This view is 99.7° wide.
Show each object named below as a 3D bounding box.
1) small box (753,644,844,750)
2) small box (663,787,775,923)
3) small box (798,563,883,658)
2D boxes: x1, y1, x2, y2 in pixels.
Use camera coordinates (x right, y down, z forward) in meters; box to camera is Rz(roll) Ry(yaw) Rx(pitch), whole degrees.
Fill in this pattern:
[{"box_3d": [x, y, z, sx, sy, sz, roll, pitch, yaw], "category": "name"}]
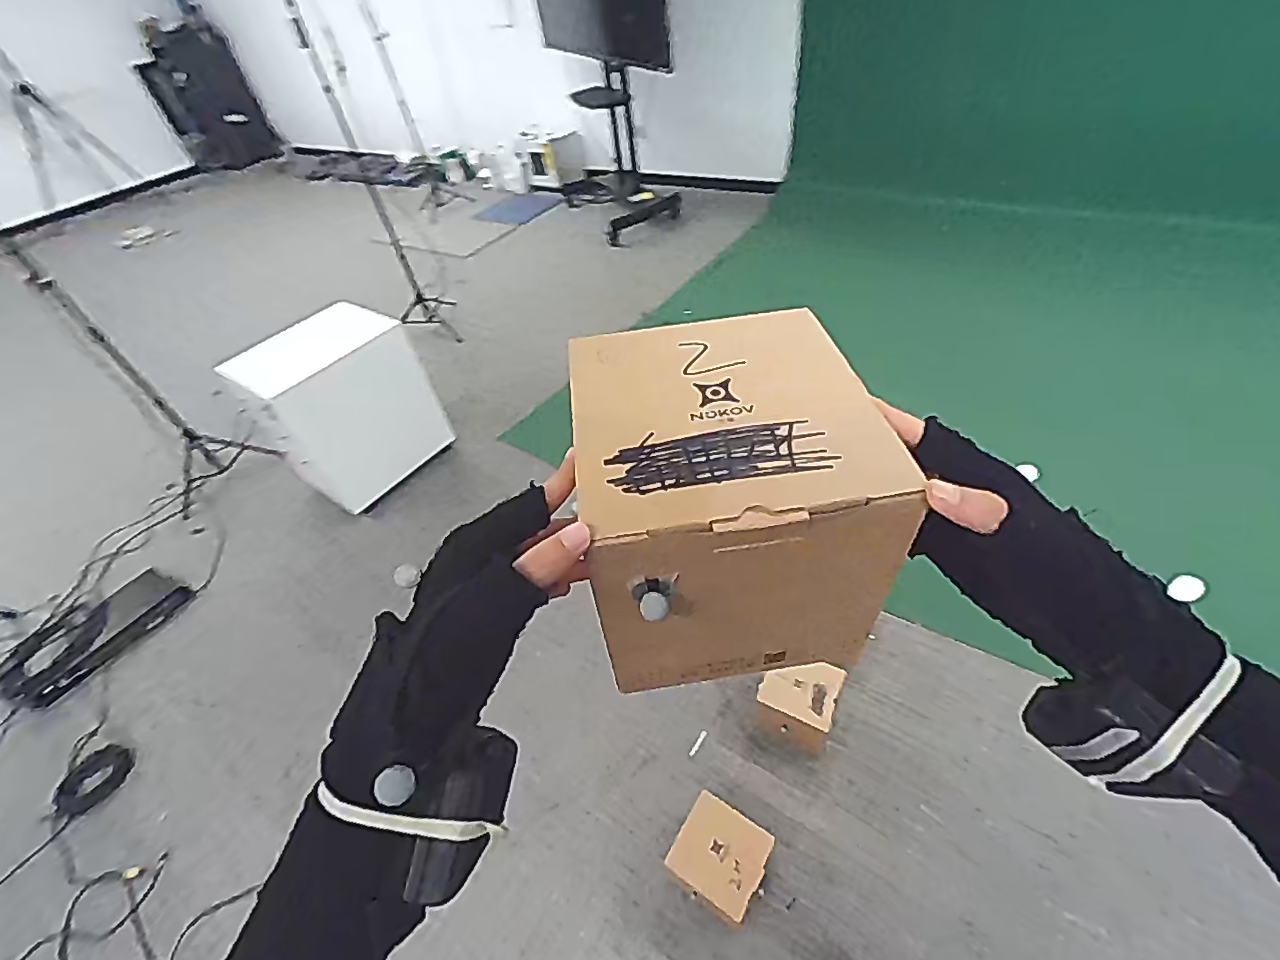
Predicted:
[{"box_3d": [0.397, 0.555, 1.374, 0.179, 0.176, 0.168, 17, 50, 25], "category": "small box"}, {"box_3d": [0.169, 0.804, 1.154, 0.179, 0.176, 0.168, 23, 54, 27], "category": "small box"}, {"box_3d": [0.562, 0.373, 1.533, 0.179, 0.176, 0.168, 21, 53, 26], "category": "small box"}]
